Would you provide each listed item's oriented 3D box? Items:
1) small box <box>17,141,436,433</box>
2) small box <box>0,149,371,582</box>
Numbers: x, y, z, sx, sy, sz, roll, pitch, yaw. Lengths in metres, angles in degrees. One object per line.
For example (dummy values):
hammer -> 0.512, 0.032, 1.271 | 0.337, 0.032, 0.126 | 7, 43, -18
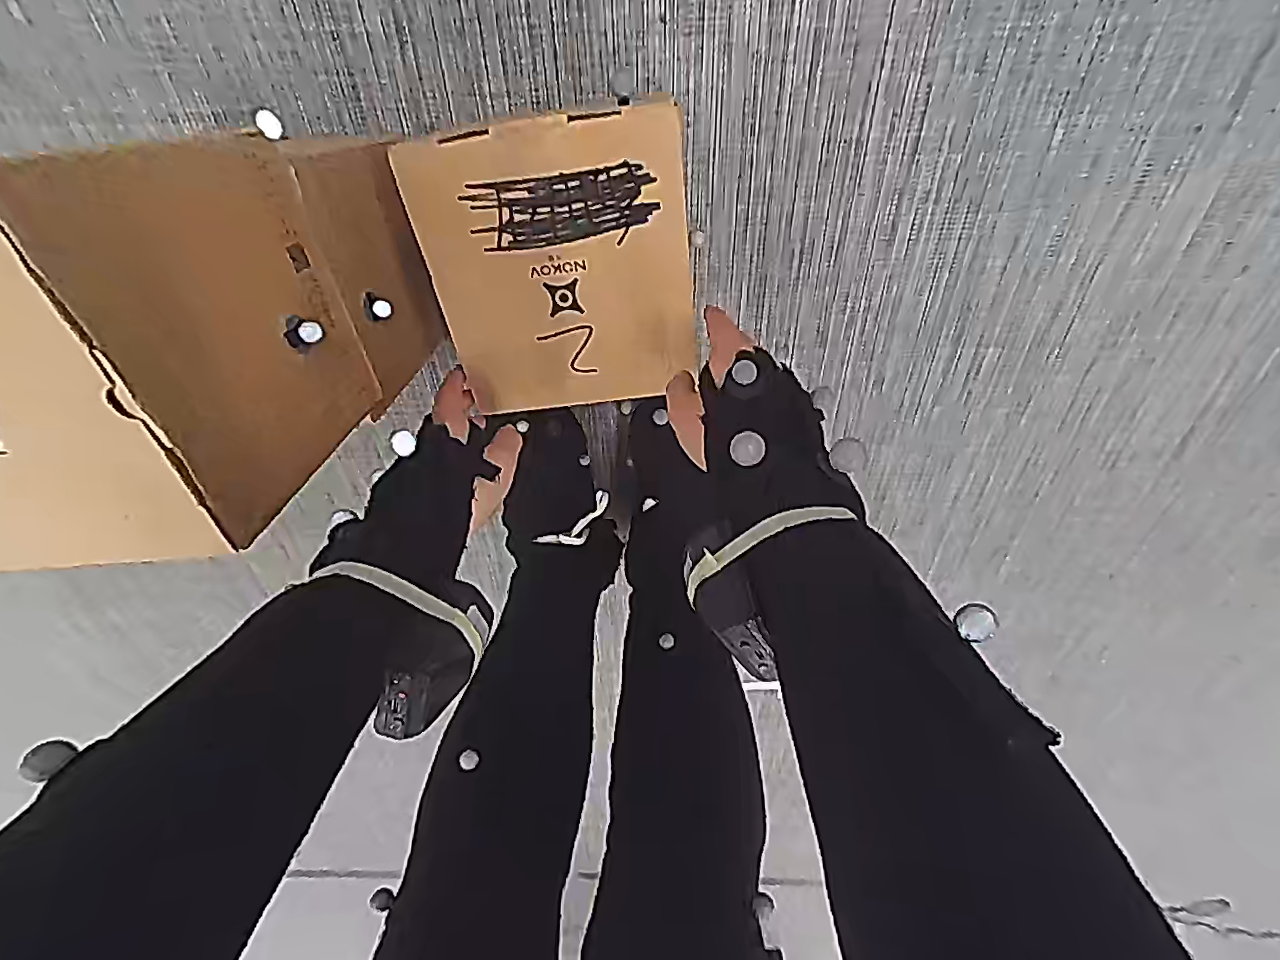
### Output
small box -> -0.277, -0.155, 0.423 | 0.168, 0.176, 0.179 | 1, 125, 0
small box -> -0.284, -0.067, 0.286 | 0.179, 0.176, 0.168 | -5, 125, 4
